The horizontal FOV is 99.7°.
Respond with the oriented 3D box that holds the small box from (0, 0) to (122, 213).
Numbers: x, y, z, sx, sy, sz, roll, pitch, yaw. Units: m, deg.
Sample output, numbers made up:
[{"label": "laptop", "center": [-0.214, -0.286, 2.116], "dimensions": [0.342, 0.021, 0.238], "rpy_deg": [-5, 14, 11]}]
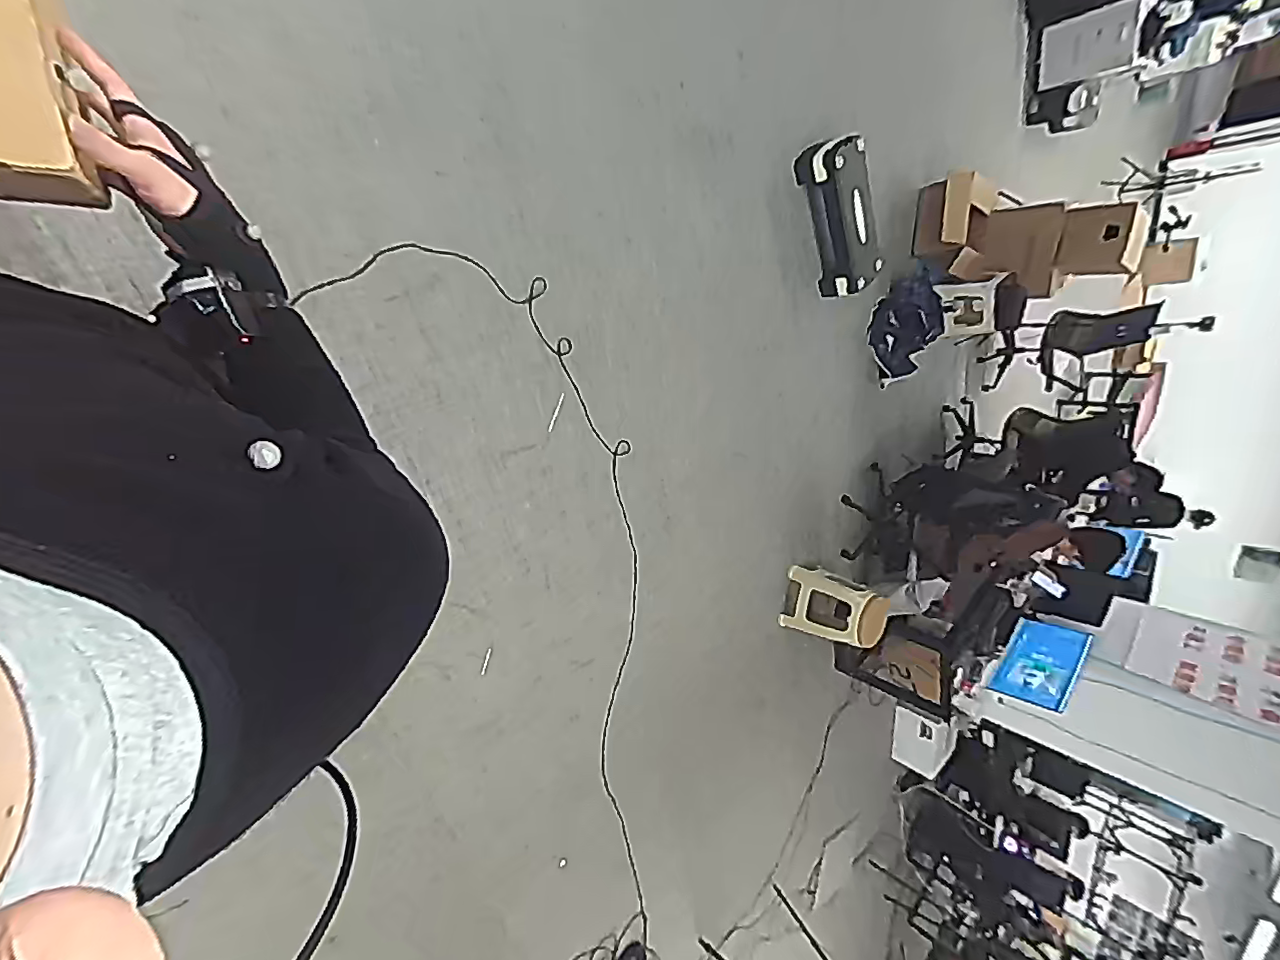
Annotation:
[{"label": "small box", "center": [-0.461, -0.277, 0.339], "dimensions": [0.168, 0.176, 0.179], "rpy_deg": [-12, 113, -36]}]
